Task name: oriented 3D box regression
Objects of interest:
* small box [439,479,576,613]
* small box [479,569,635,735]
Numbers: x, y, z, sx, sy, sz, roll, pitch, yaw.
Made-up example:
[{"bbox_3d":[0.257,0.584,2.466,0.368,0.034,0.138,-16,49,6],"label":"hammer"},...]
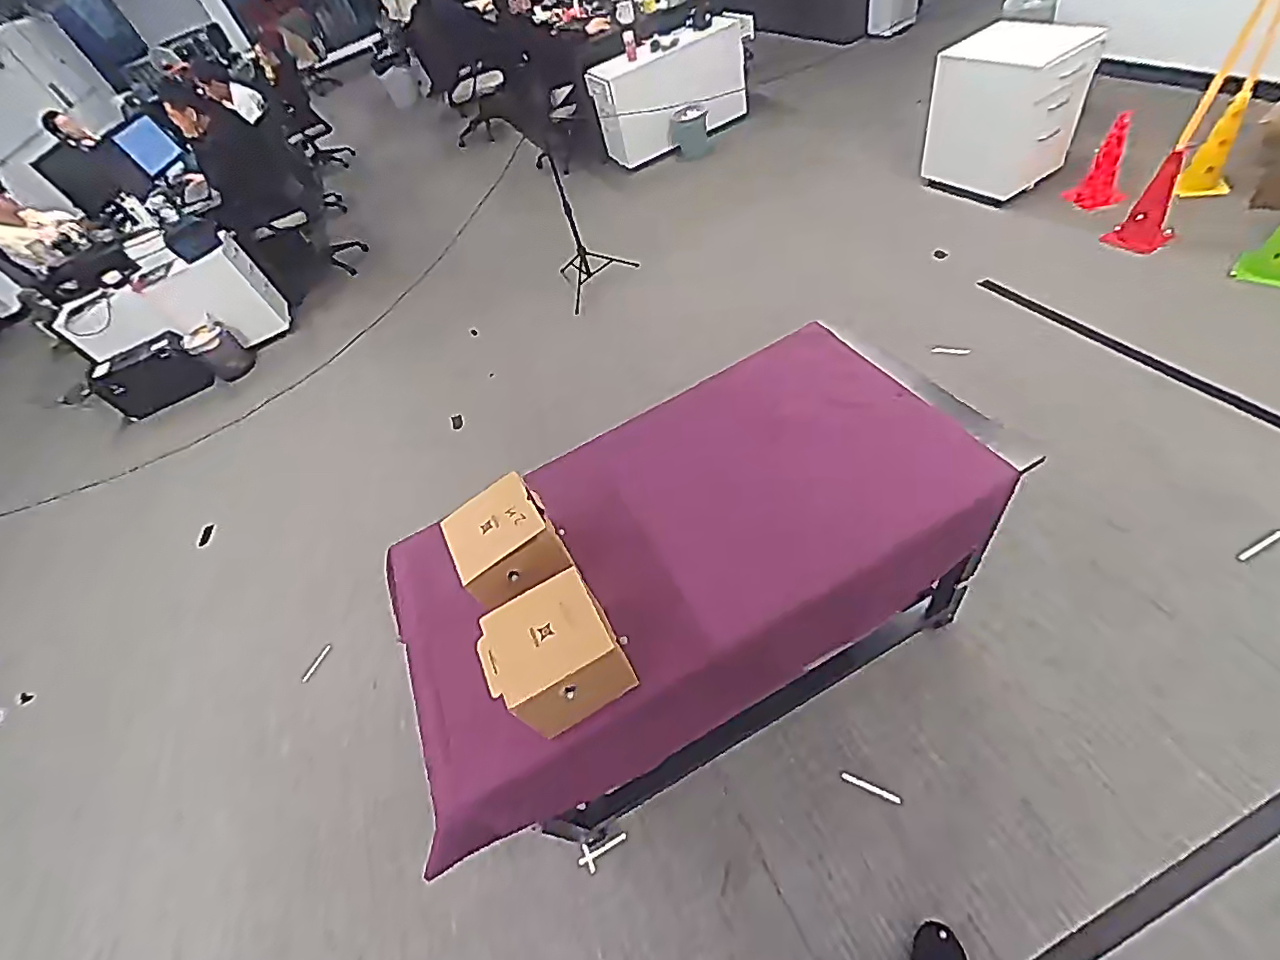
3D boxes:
[{"bbox_3d":[-0.248,0.138,1.033,0.179,0.176,0.168,-30,51,-9],"label":"small box"},{"bbox_3d":[-0.130,0.284,0.880,0.179,0.176,0.168,-29,50,-7],"label":"small box"}]
